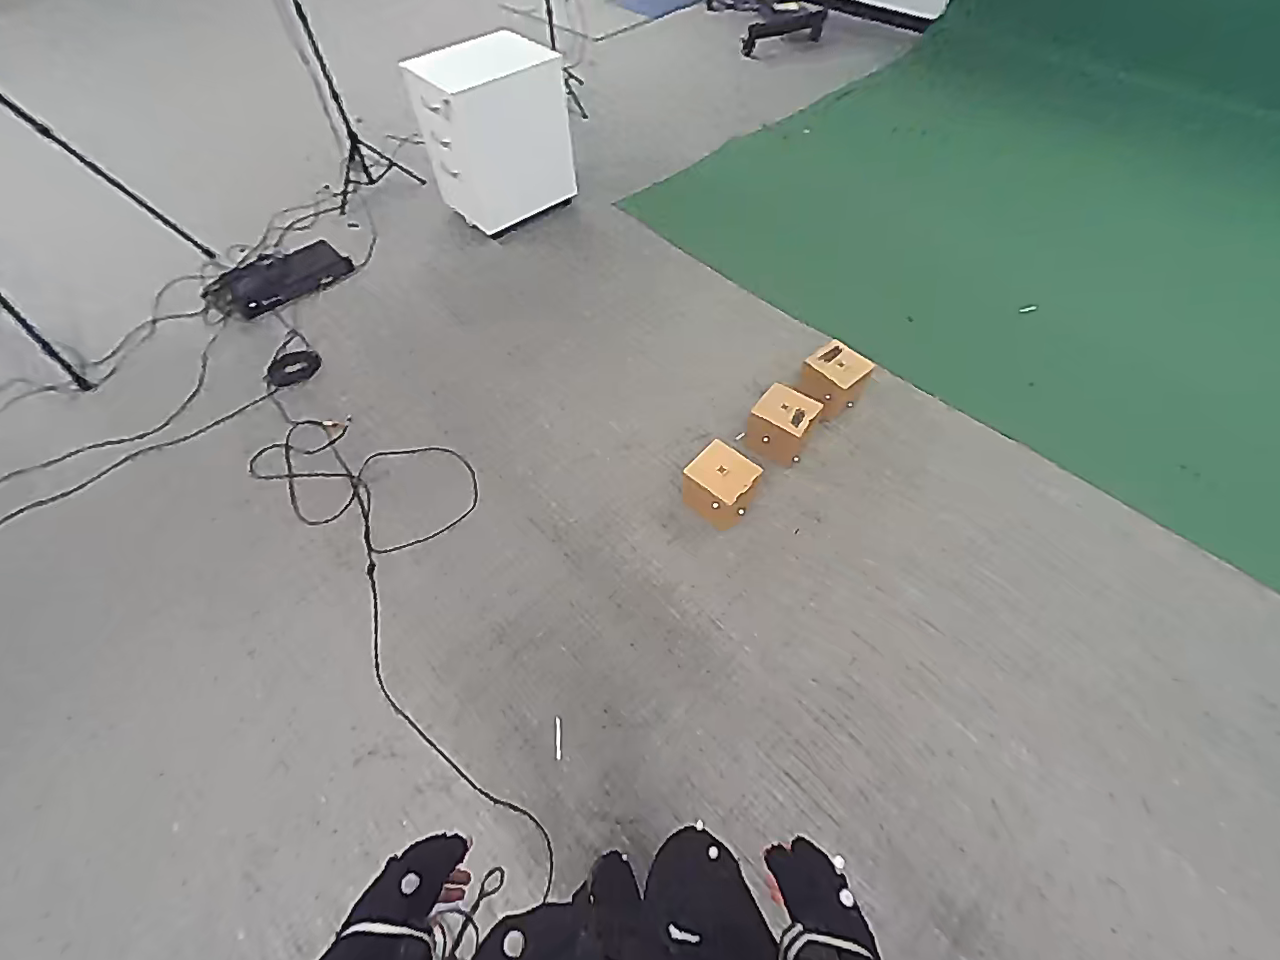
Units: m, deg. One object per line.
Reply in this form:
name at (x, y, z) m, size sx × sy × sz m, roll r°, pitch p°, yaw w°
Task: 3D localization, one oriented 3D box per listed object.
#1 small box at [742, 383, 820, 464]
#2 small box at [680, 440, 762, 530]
small box at (0.451, -0.176, 1.752) m, size 0.179 × 0.176 × 0.168 m, roll 32°, pitch 61°, yaw 21°
small box at (0.236, 0.019, 1.624) m, size 0.179 × 0.176 × 0.168 m, roll 36°, pitch 64°, yaw 21°
